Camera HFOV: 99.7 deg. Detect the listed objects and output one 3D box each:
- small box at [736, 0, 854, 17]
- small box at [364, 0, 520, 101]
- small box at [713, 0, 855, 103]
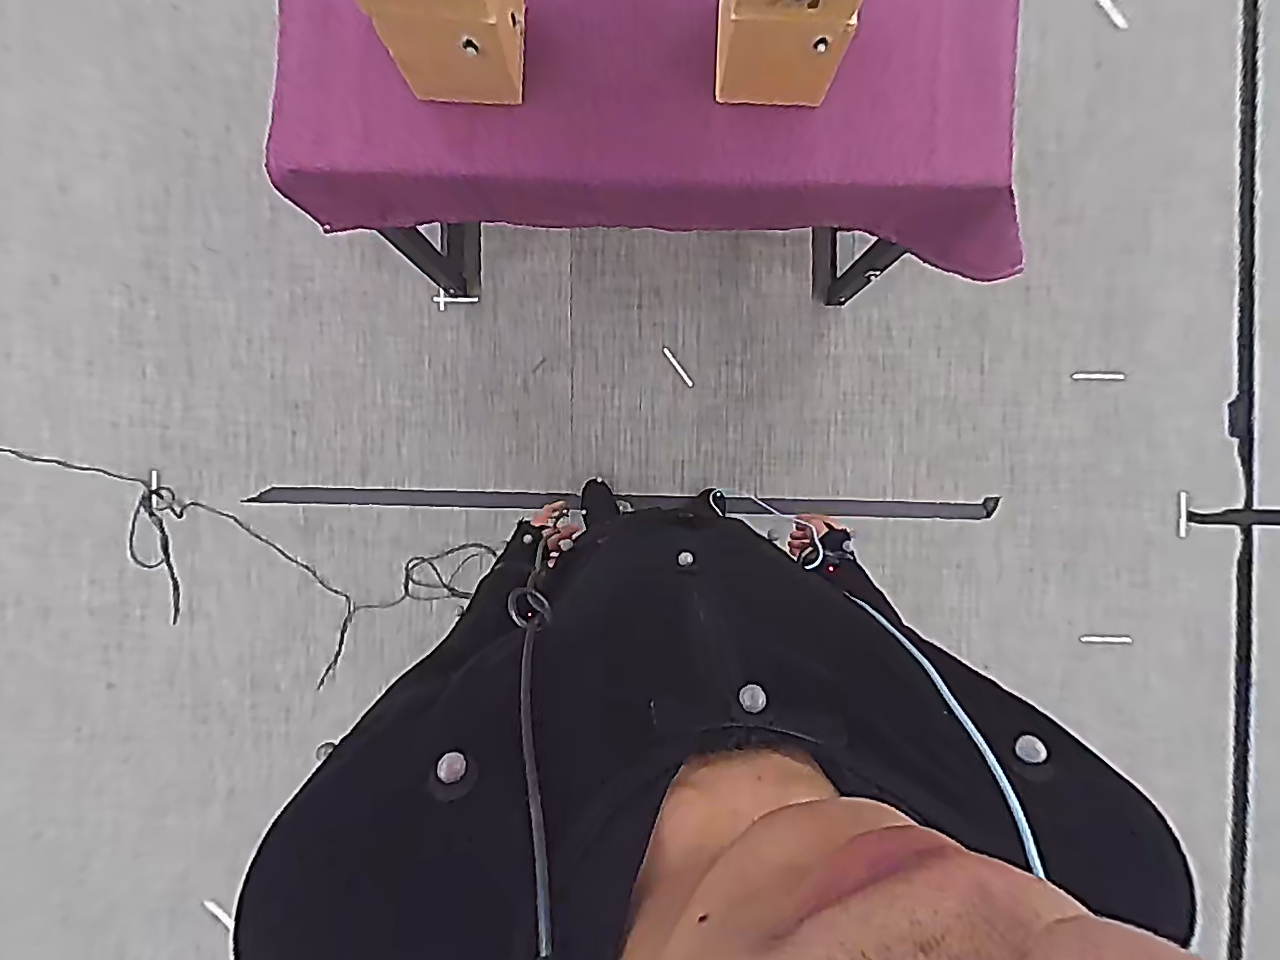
[{"bbox_3d":[0.206,-0.712,0.646,0.168,0.176,0.179,2,91,0],"label":"small box"},{"bbox_3d":[-0.282,-0.703,0.807,0.179,0.176,0.168,3,91,-1],"label":"small box"},{"bbox_3d":[0.206,-0.703,0.811,0.179,0.176,0.168,2,91,-1],"label":"small box"}]
